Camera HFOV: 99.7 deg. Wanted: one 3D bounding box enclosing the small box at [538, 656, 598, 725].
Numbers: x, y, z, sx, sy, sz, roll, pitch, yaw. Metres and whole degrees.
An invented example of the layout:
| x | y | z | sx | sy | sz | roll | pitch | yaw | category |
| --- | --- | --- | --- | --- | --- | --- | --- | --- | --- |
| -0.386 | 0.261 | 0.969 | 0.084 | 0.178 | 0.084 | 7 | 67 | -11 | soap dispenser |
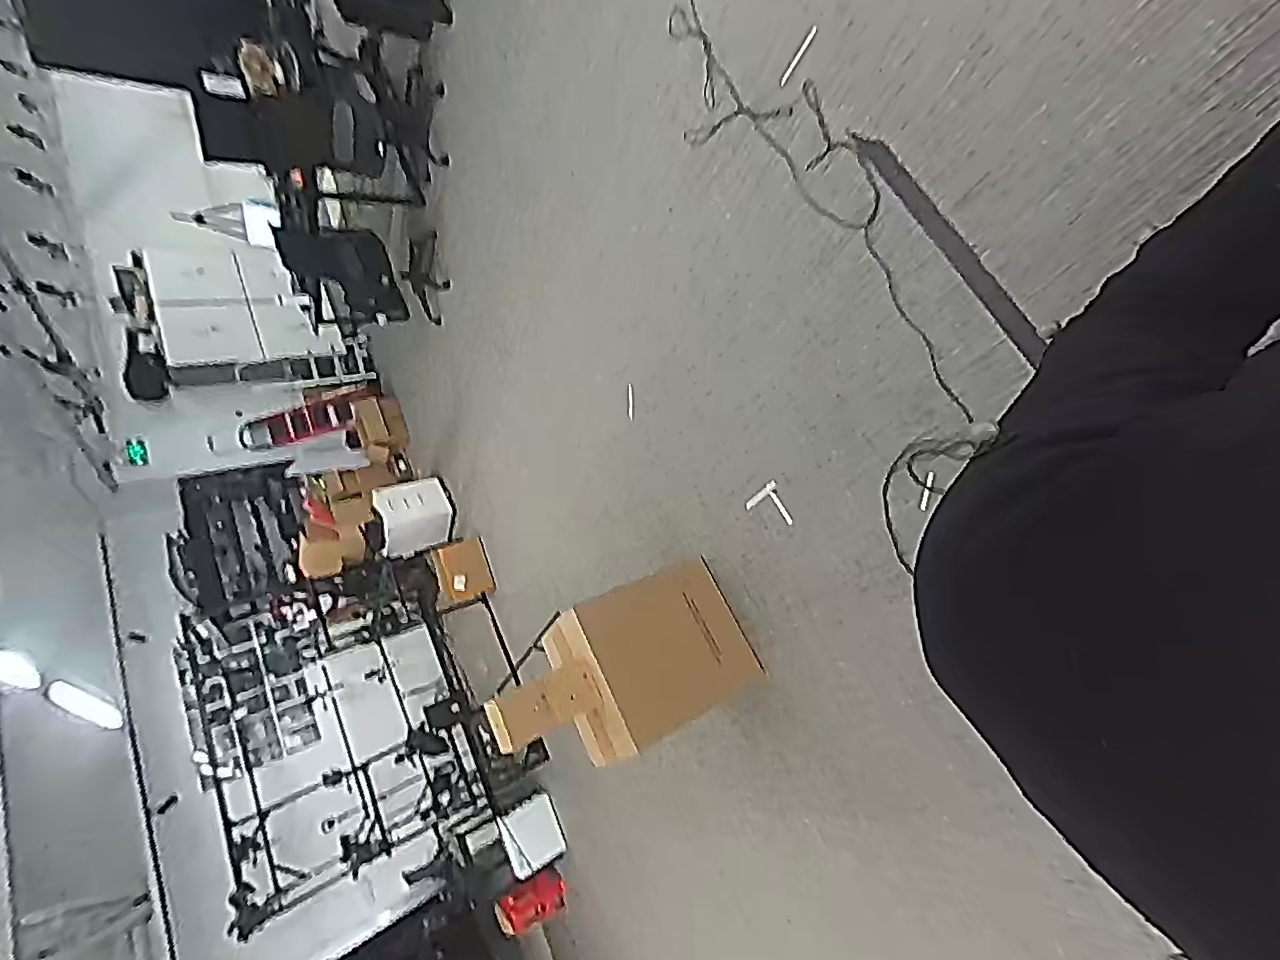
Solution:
| x | y | z | sx | sy | sz | roll | pitch | yaw | category |
| --- | --- | --- | --- | --- | --- | --- | --- | --- | --- |
| -0.264 | 0.730 | 1.869 | 0.168 | 0.176 | 0.179 | 63 | 144 | 16 | small box |

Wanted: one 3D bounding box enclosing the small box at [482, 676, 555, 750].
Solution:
| x | y | z | sx | sy | sz | roll | pitch | yaw | category |
| --- | --- | --- | --- | --- | --- | --- | --- | --- | --- |
| -0.399 | 0.768 | 1.781 | 0.179 | 0.176 | 0.168 | -44 | 68 | 52 | small box |
